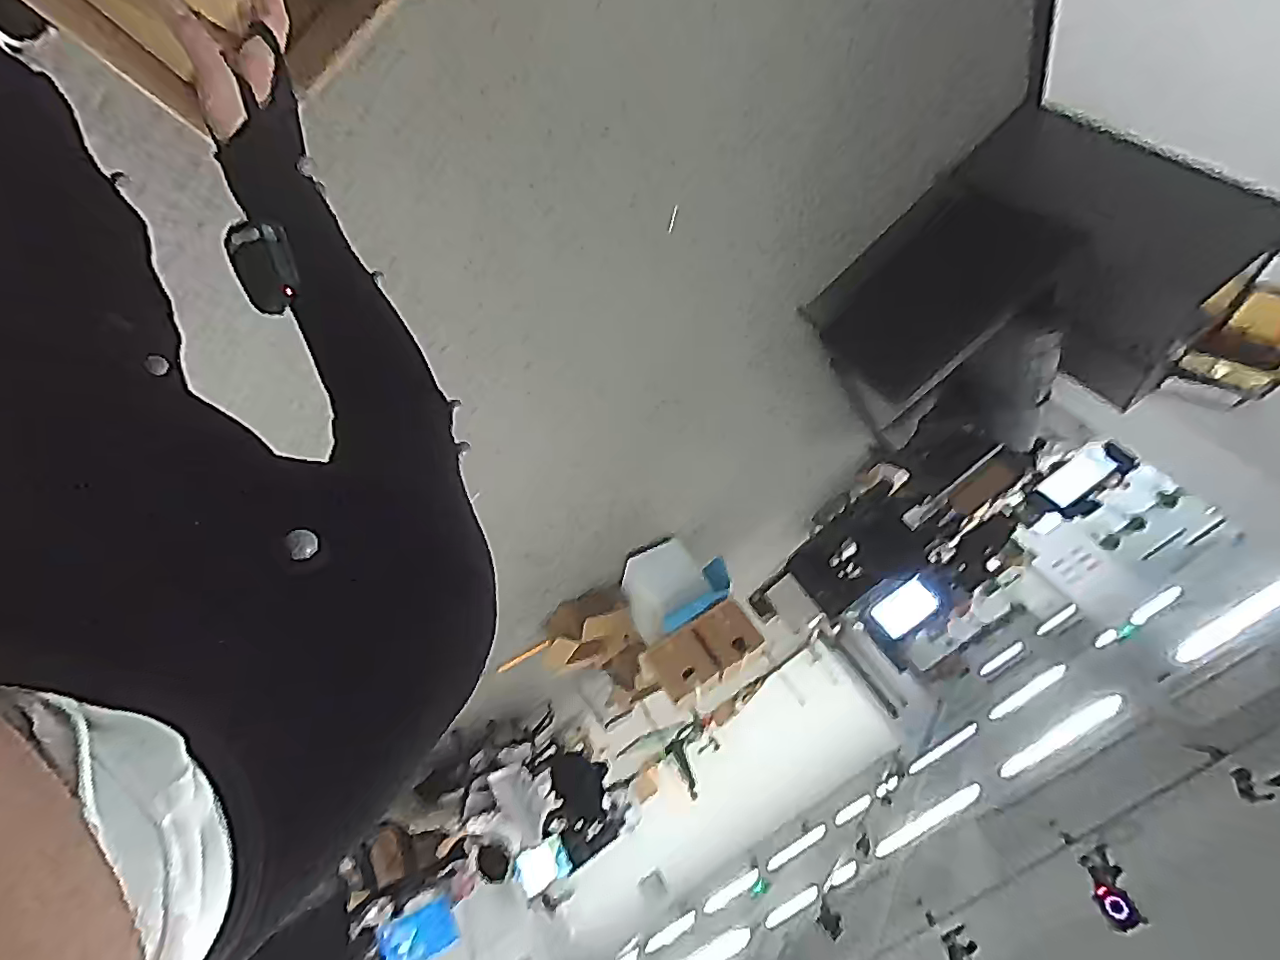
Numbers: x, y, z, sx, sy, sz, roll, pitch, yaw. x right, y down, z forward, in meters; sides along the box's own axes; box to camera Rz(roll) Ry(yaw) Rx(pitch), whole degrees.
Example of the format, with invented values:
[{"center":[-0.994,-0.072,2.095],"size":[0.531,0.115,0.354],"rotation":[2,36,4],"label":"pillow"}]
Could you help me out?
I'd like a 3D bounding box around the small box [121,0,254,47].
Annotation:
[{"center":[-0.400,-0.482,0.422],"size":[0.168,0.176,0.179],"rotation":[11,107,-51],"label":"small box"}]
